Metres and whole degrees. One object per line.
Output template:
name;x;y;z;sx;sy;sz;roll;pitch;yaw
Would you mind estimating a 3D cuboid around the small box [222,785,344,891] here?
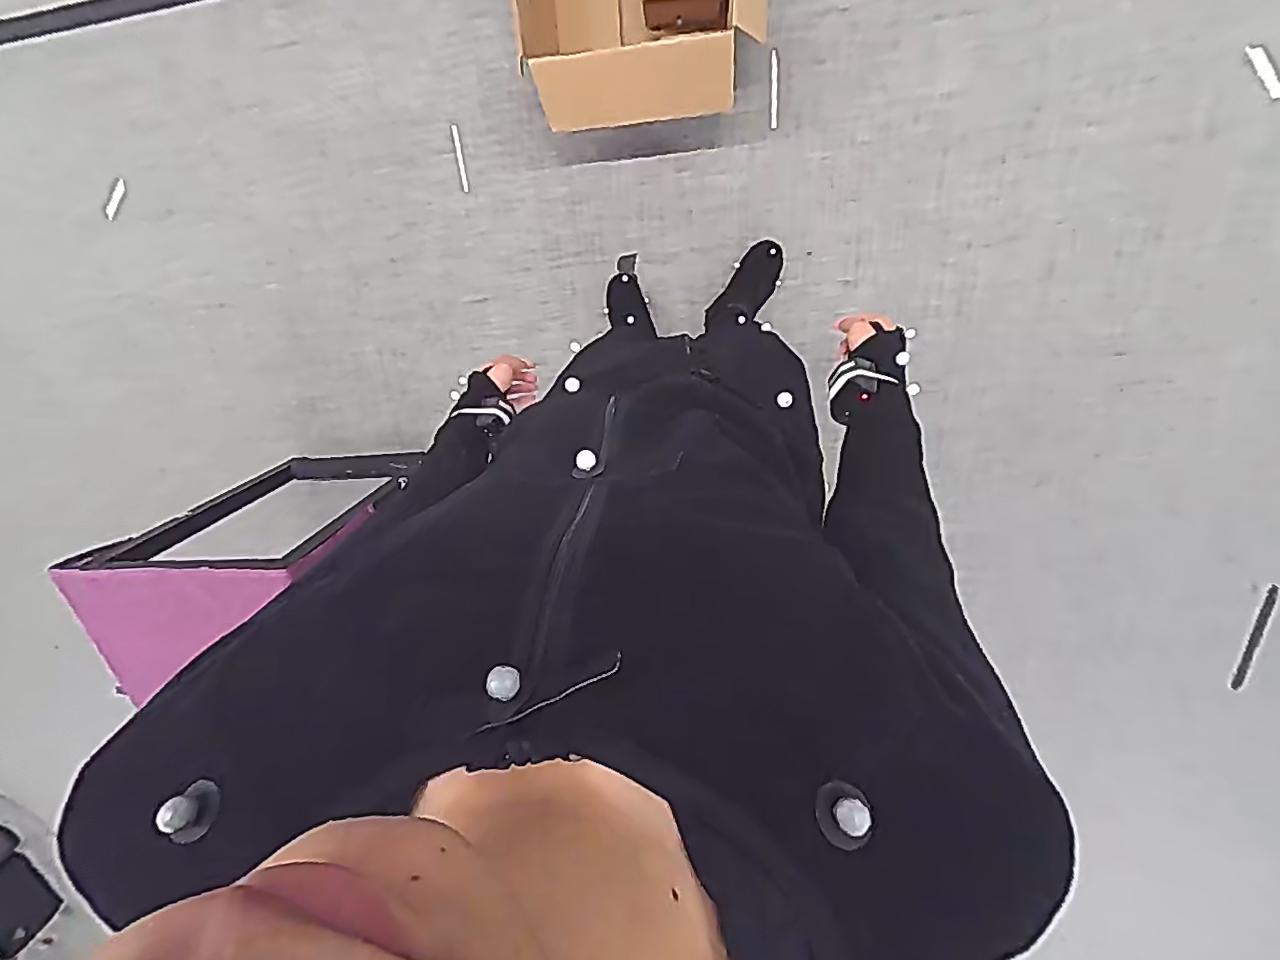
small box;-0.887;0.900;1.370;0.179;0.176;0.168;-4;113;10
